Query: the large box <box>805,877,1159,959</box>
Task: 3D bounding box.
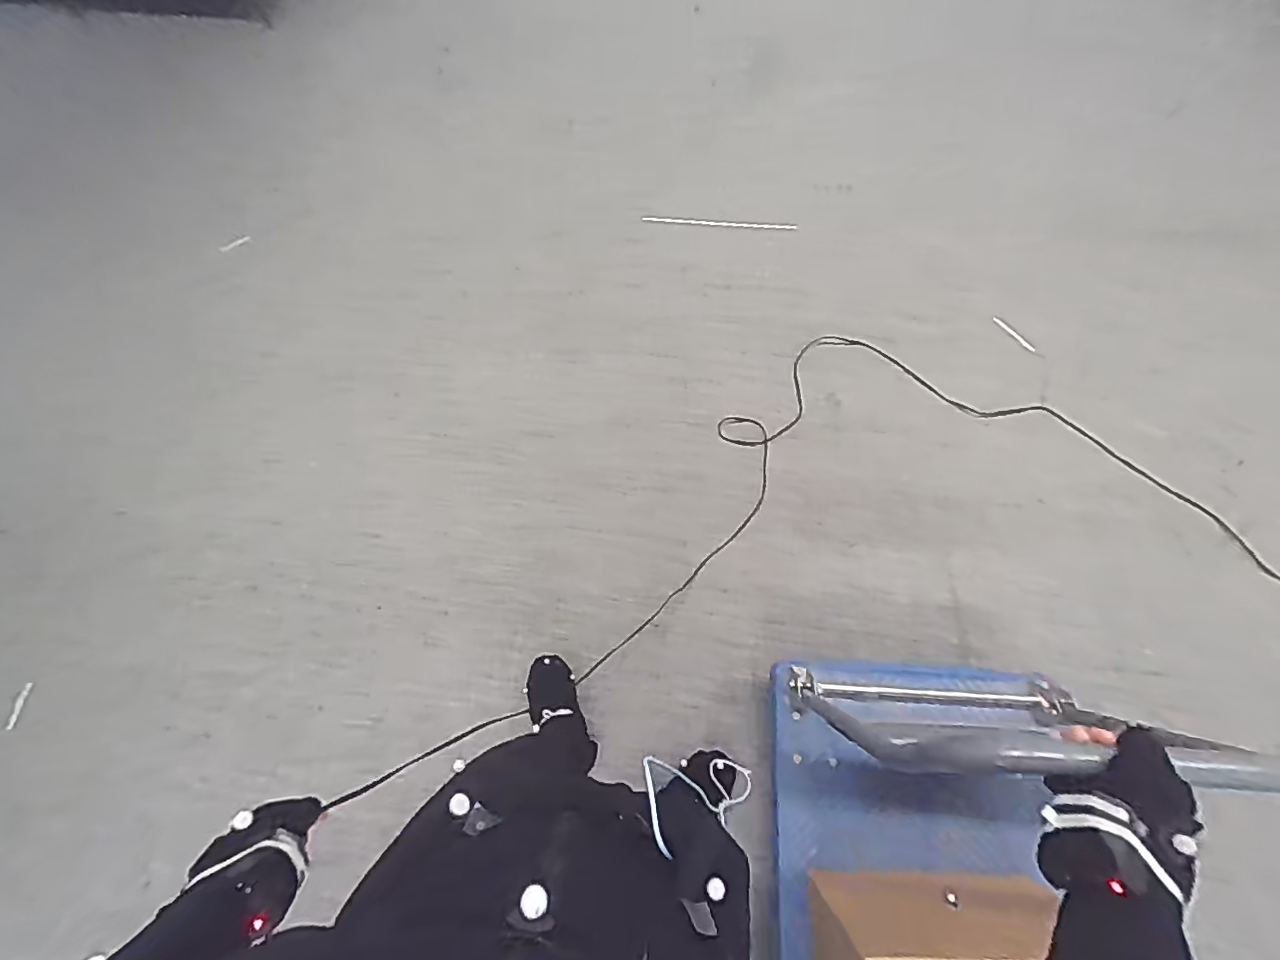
[{"bbox_3d":[0.502,0.834,0.815,0.408,0.320,0.320,-1,72,1],"label":"large box"}]
